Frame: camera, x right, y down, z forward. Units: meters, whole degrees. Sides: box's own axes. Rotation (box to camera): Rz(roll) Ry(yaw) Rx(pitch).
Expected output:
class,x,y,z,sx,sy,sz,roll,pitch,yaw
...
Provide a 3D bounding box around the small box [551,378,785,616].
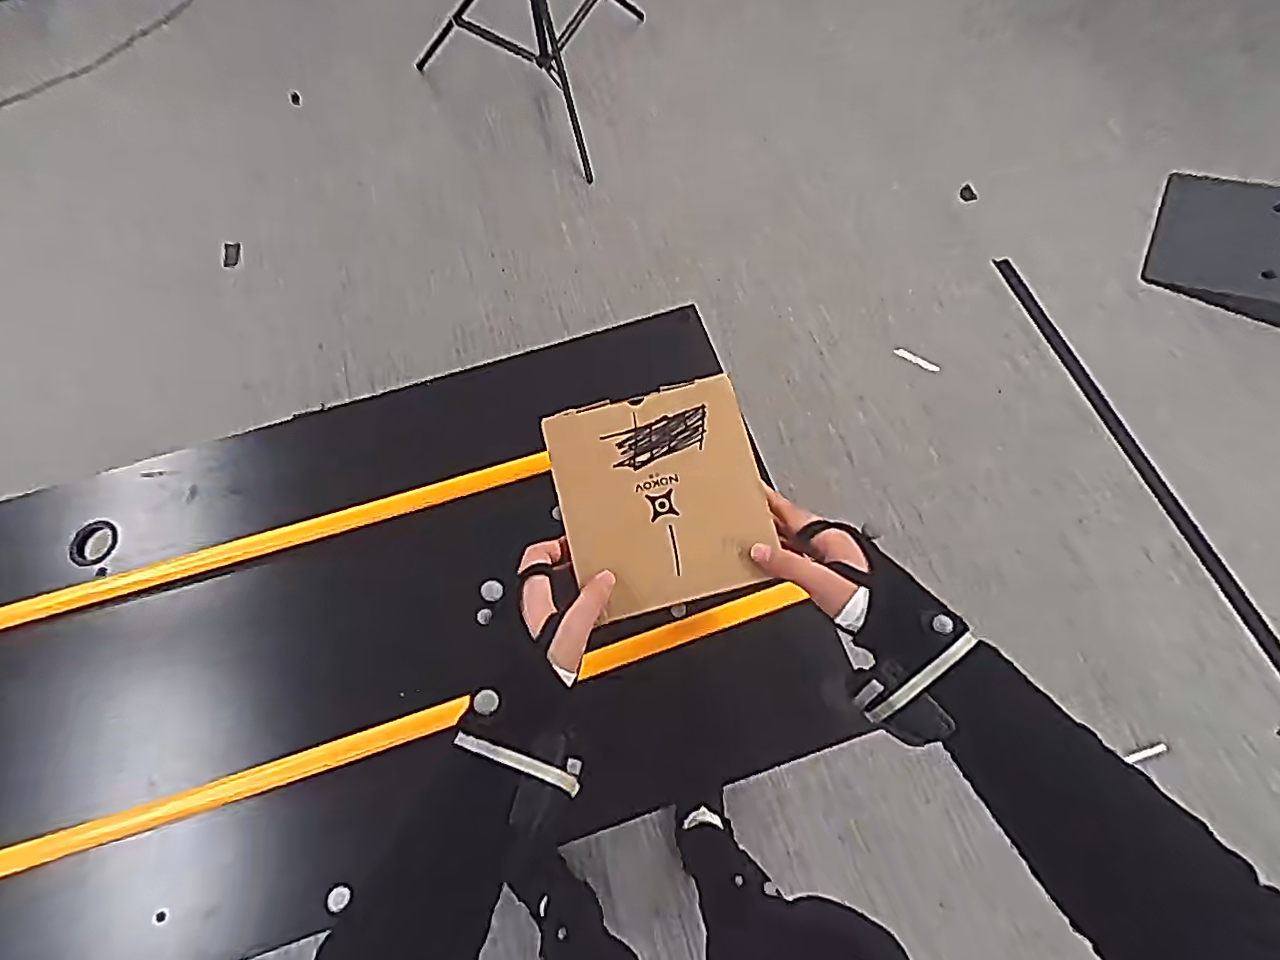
class,x,y,z,sx,sy,sz,roll,pitch,yaw
small box,0.021,0.027,0.527,0.168,0.176,0.179,-14,79,-1
